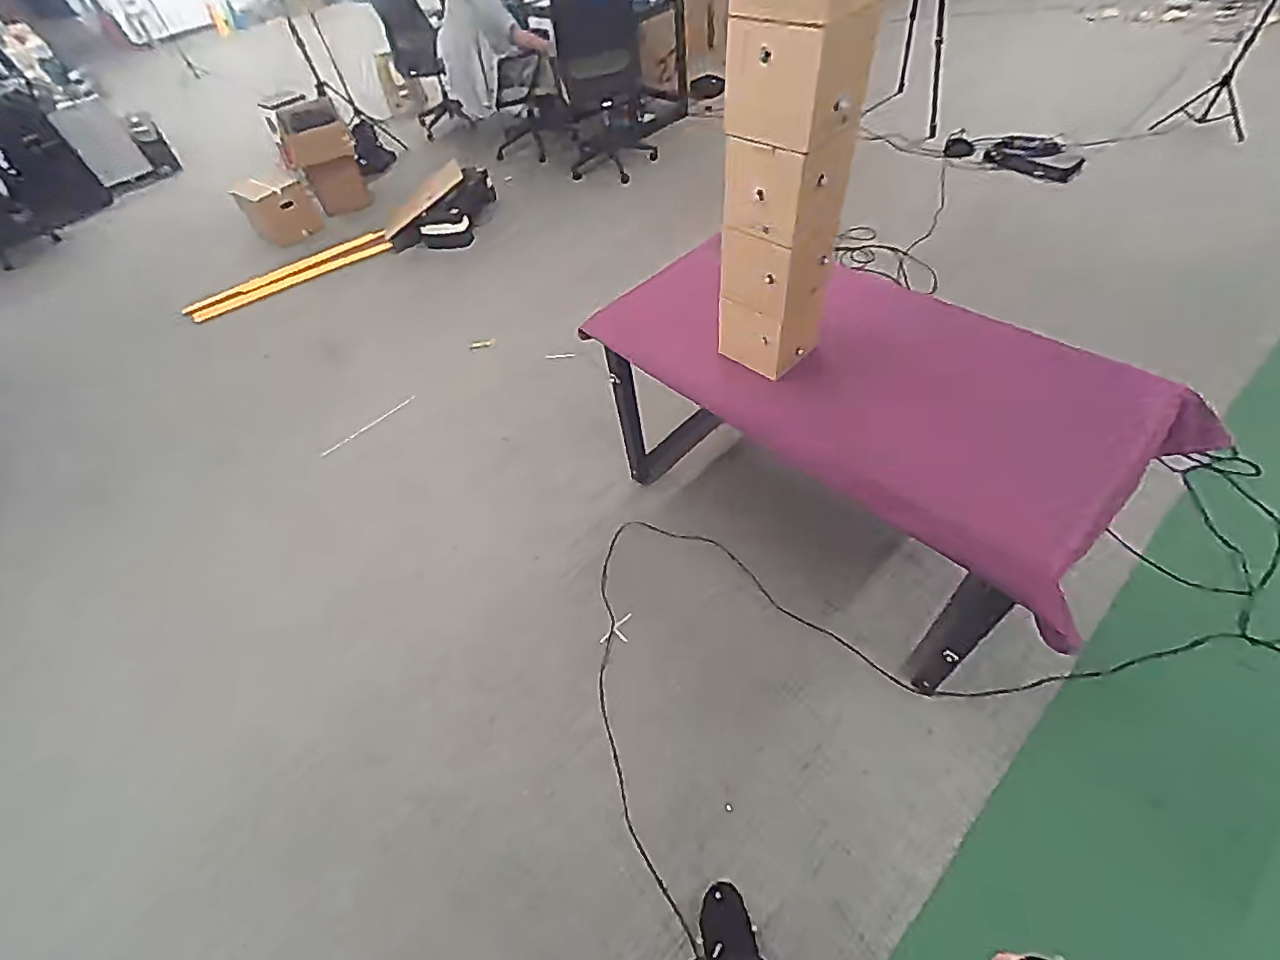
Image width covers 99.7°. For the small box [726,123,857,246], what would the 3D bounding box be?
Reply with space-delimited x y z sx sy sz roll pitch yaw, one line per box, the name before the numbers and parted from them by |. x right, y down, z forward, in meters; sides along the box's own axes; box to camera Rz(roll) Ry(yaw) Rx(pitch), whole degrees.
small box | 0.281 -0.575 1.027 0.168 0.176 0.179 36 65 29

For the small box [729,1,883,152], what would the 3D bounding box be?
small box | 0.261 -0.672 0.896 0.179 0.176 0.168 36 64 29

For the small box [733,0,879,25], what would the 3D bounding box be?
small box | 0.249 -0.773 0.769 0.179 0.176 0.168 35 64 30

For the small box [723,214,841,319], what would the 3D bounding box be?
small box | 0.294 -0.470 1.151 0.168 0.176 0.179 -40 57 -22
